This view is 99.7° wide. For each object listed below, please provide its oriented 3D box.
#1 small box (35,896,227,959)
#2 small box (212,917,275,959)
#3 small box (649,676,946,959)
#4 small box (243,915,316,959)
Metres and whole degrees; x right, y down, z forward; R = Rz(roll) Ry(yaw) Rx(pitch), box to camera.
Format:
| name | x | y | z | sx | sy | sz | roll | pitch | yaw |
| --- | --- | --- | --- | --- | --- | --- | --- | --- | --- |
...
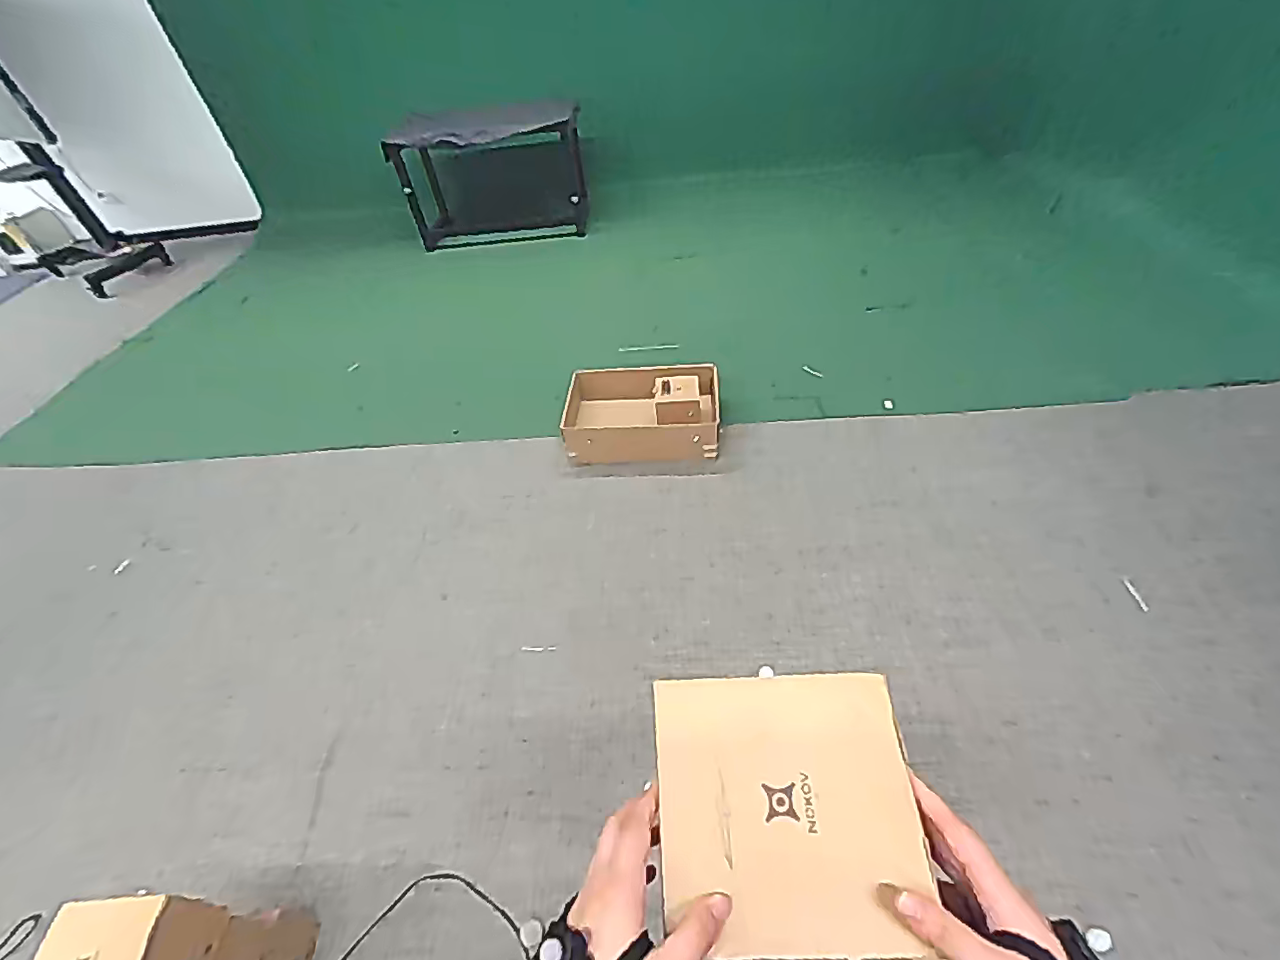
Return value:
| name | x | y | z | sx | sy | sz | roll | pitch | yaw |
| --- | --- | --- | --- | --- | --- | --- | --- | --- | --- |
| small box | -0.829 | 0.789 | 0.865 | 0.179 | 0.176 | 0.168 | -6 | 45 | 1 |
| small box | -0.817 | 0.908 | 0.976 | 0.179 | 0.176 | 0.168 | -6 | 45 | 2 |
| small box | 0.101 | 0.261 | 0.433 | 0.179 | 0.176 | 0.168 | -4 | 57 | 4 |
| small box | -0.805 | 1.011 | 1.103 | 0.179 | 0.176 | 0.168 | -9 | 44 | 0 |
